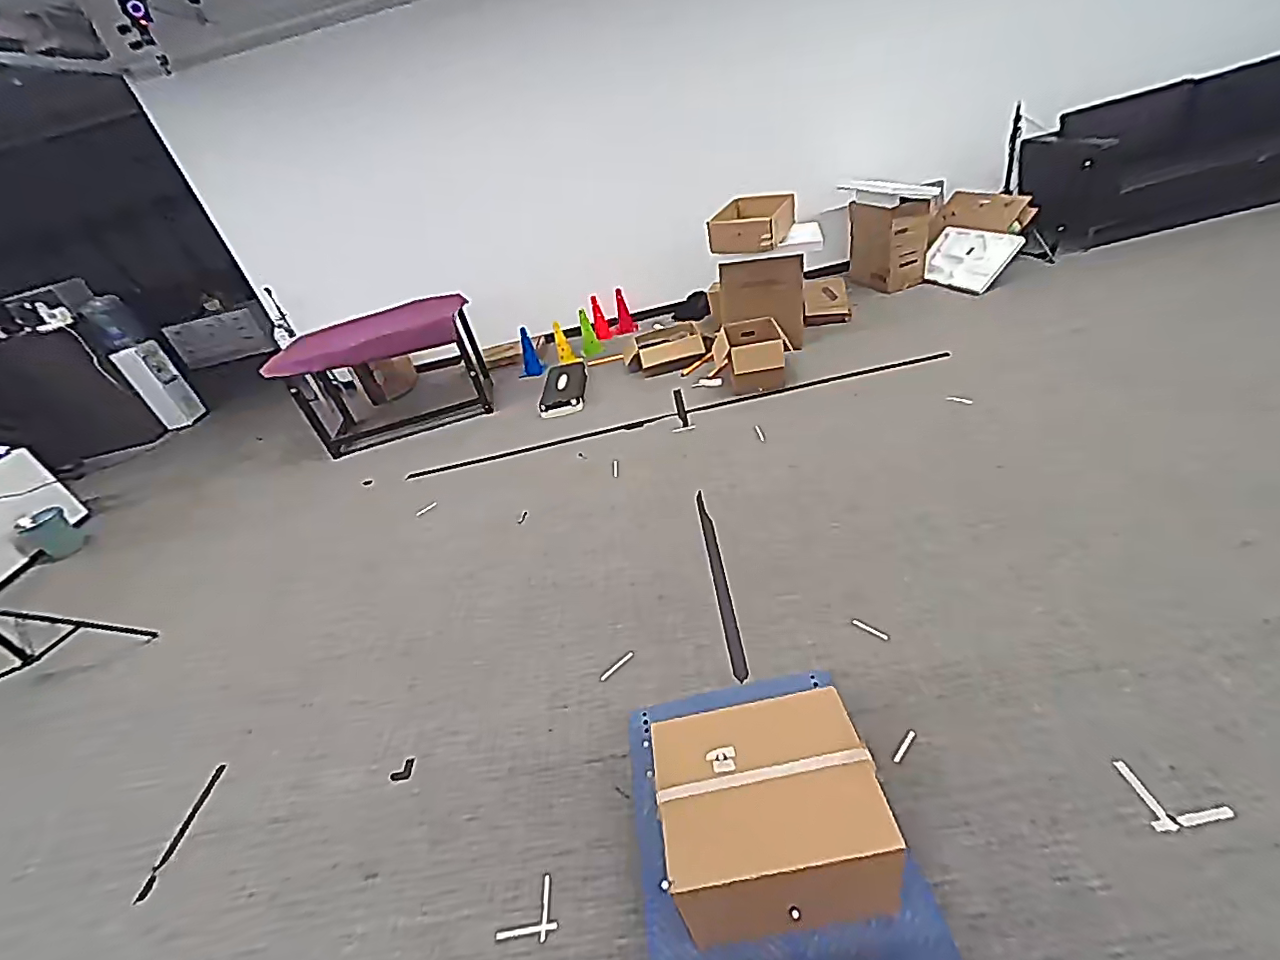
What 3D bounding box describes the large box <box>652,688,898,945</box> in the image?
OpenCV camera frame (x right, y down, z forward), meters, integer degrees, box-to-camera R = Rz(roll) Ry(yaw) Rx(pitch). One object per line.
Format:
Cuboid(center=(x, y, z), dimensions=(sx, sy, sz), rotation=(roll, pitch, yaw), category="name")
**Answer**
Cuboid(center=(0.267, 0.697, 1.128), dimensions=(0.408, 0.320, 0.320), rotation=(-14, 33, 3), category="large box")
